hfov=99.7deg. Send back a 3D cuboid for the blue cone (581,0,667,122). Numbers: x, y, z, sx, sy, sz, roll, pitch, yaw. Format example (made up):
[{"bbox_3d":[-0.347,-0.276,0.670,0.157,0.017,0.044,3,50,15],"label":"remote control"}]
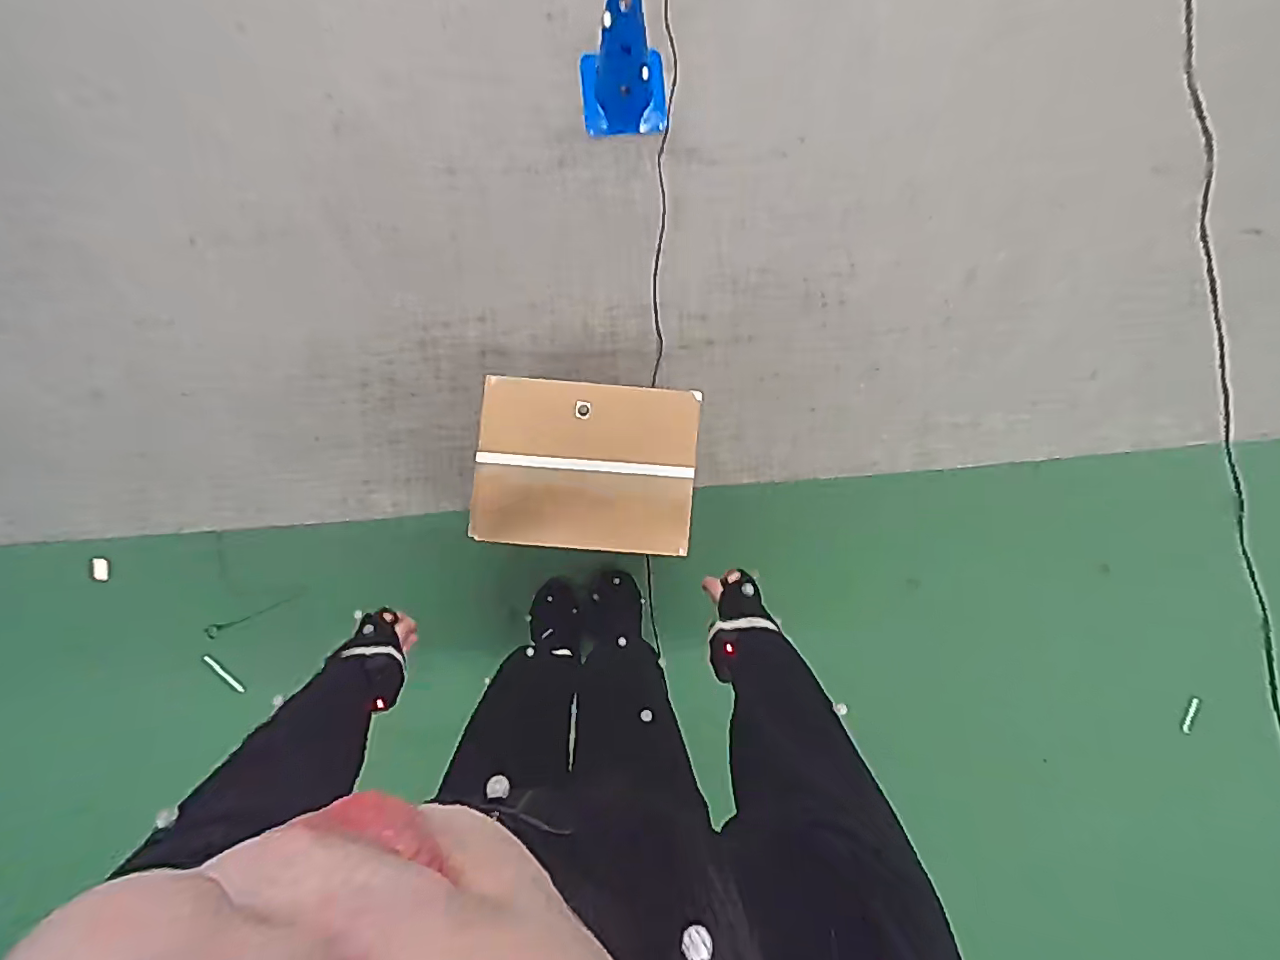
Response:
[{"bbox_3d":[-0.032,-0.941,1.109,0.193,0.380,0.192,-7,91,-1],"label":"blue cone"}]
